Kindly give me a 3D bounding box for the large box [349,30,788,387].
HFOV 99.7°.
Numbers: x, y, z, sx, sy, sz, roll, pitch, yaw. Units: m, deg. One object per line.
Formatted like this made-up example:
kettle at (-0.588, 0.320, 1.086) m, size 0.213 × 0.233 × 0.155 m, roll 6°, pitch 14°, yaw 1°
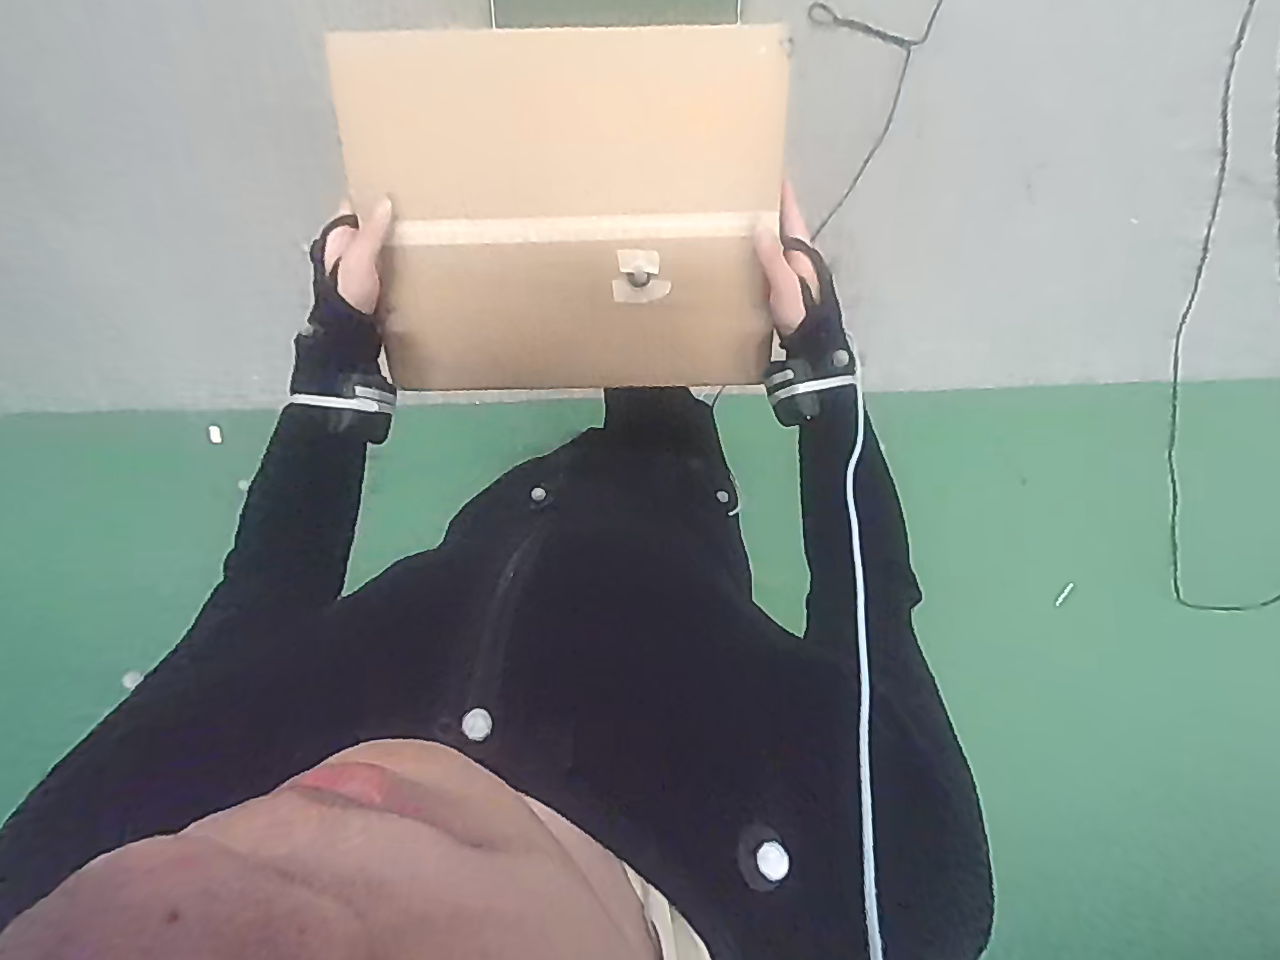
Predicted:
large box at (-0.064, -0.304, 0.675) m, size 0.408 × 0.320 × 0.320 m, roll -1°, pitch 111°, yaw -1°
